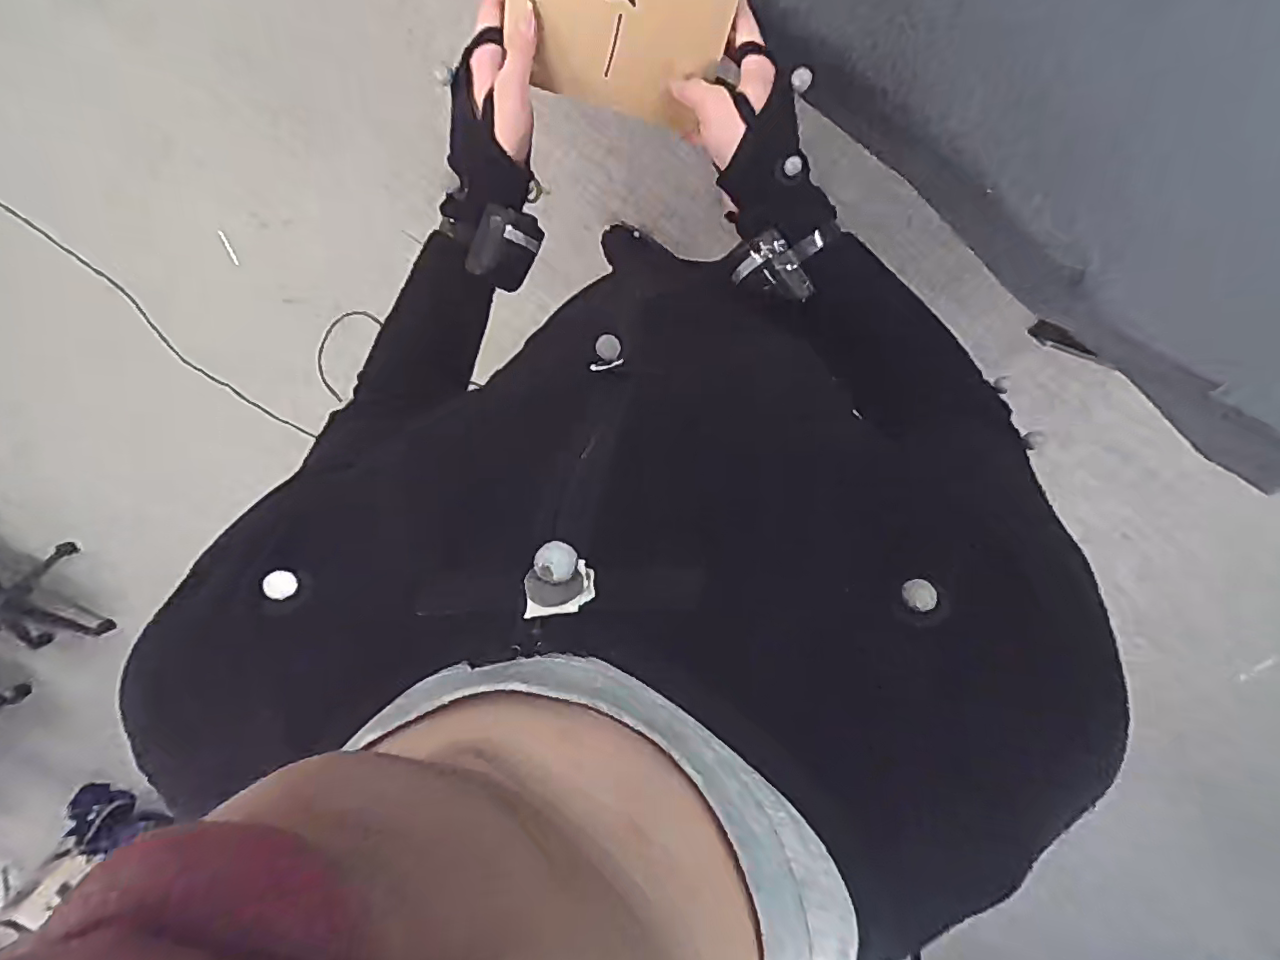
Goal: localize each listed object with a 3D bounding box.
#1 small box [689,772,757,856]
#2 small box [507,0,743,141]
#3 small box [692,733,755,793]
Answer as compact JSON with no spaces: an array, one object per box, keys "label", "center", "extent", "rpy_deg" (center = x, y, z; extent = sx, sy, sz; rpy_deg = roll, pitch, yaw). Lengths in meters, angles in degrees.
[{"label":"small box","center":[0.292,1.175,1.911],"extent":[0.168,0.176,0.179],"rpy_deg":[36,116,-8]},{"label":"small box","center":[-0.007,-0.419,0.435],"extent":[0.168,0.176,0.179],"rpy_deg":[9,140,-12]},{"label":"small box","center":[0.311,1.106,2.058],"extent":[0.168,0.176,0.179],"rpy_deg":[35,114,-9]}]
